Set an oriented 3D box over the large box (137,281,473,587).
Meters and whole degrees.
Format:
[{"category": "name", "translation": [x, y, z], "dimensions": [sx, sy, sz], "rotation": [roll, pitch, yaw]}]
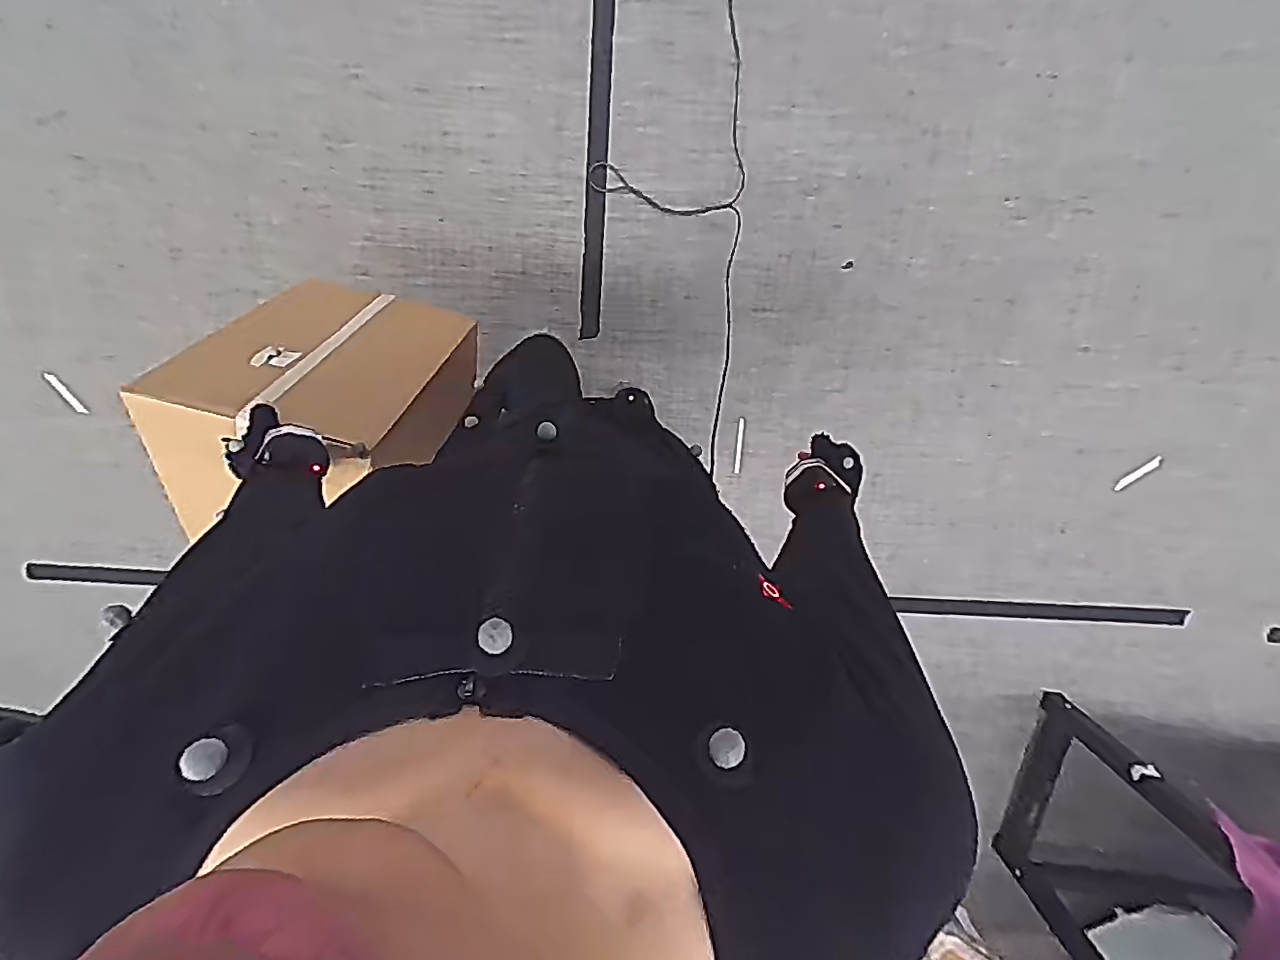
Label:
[{"category": "large box", "translation": [-0.506, -0.089, 0.939], "dimensions": [0.320, 0.408, 0.320], "rotation": [13, 132, -3]}]
